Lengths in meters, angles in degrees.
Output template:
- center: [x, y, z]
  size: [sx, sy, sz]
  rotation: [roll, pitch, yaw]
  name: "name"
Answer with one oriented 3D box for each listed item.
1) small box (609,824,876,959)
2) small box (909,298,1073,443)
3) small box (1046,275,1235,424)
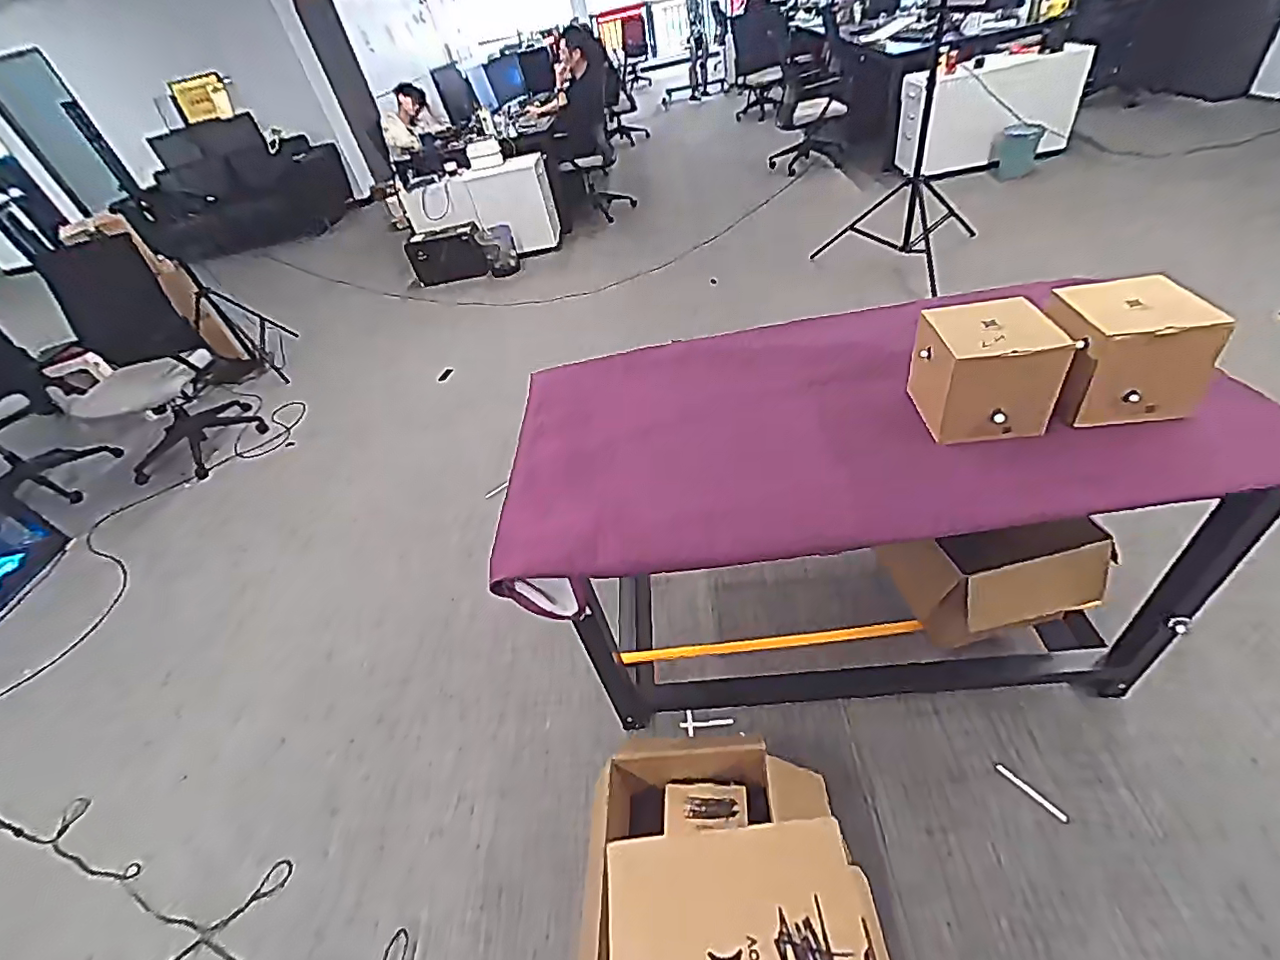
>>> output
- center: [0.077, 0.376, 0.404]
  size: [0.179, 0.176, 0.168]
  rotation: [-9, 44, 4]
  name: "small box"
- center: [0.573, -0.184, 0.915]
  size: [0.168, 0.176, 0.179]
  rotation: [-6, 41, 10]
  name: "small box"
- center: [0.780, -0.212, 0.887]
  size: [0.168, 0.176, 0.179]
  rotation: [-6, 41, 10]
  name: "small box"
